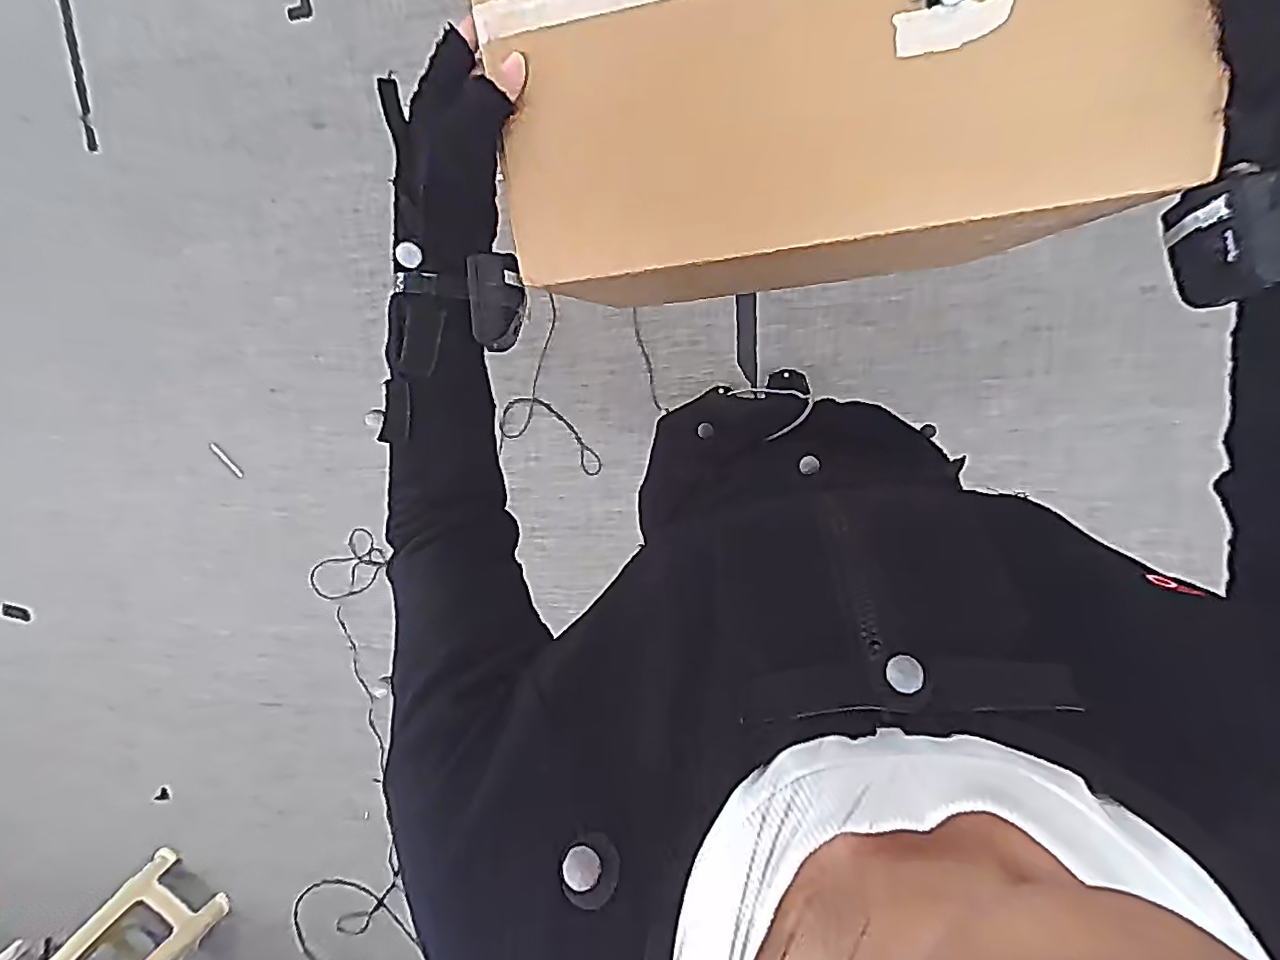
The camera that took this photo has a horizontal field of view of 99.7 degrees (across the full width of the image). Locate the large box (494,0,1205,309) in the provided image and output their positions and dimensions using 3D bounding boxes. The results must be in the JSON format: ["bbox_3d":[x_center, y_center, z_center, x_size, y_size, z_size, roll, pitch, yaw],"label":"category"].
[{"bbox_3d":[0.123,-0.341,0.456,0.408,0.320,0.320,-5,104,10],"label":"large box"}]
